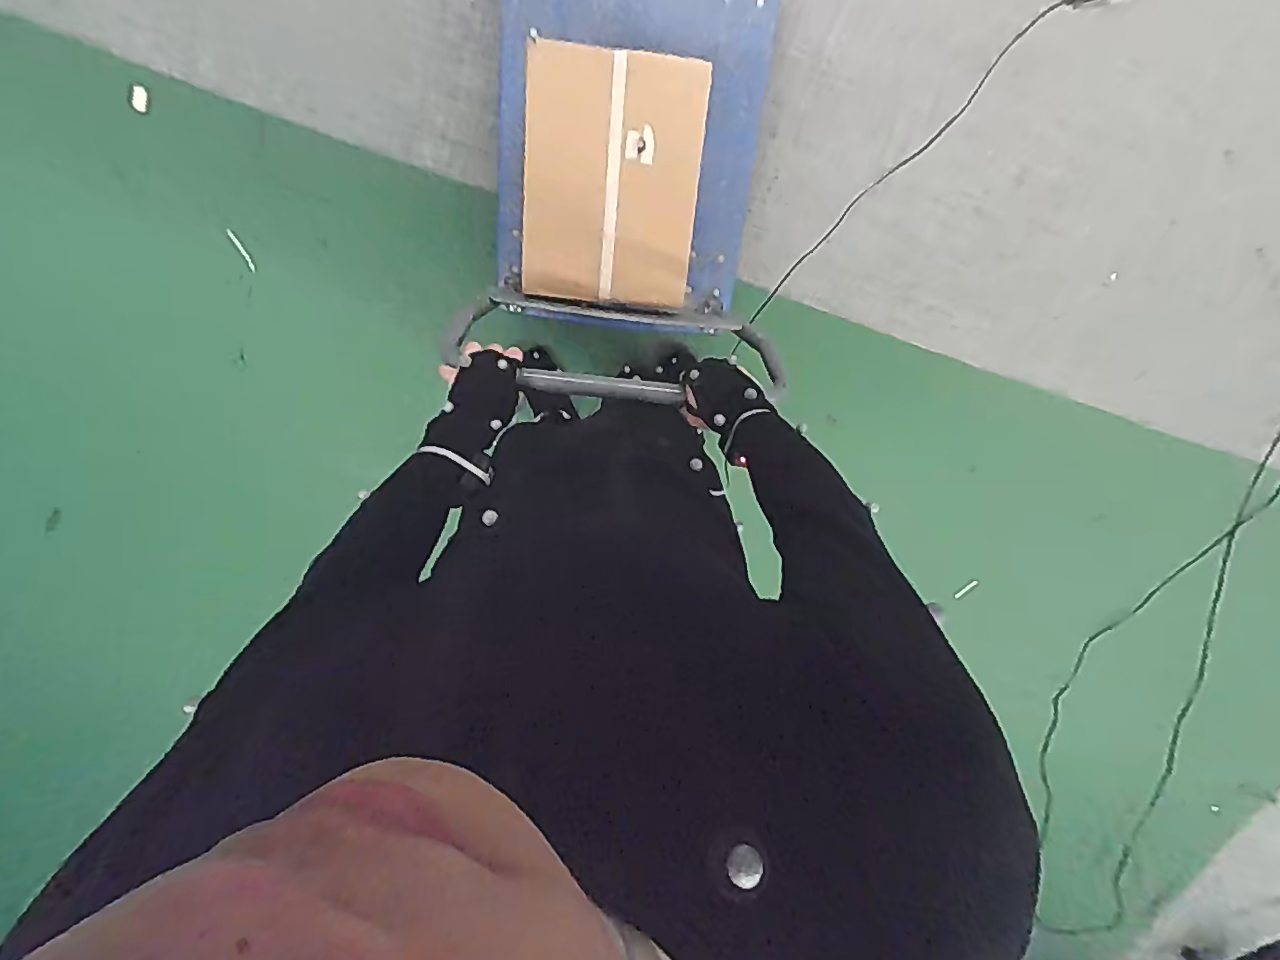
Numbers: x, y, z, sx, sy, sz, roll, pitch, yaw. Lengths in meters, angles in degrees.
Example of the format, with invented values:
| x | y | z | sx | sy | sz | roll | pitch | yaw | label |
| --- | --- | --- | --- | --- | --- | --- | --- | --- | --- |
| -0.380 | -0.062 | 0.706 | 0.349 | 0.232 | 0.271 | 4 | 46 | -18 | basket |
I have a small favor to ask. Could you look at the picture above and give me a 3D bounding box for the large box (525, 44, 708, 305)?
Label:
| x | y | z | sx | sy | sz | roll | pitch | yaw | label |
| --- | --- | --- | --- | --- | --- | --- | --- | --- | --- |
| -0.057 | -0.587 | 1.127 | 0.320 | 0.320 | 0.408 | 5 | 109 | -5 | large box |
